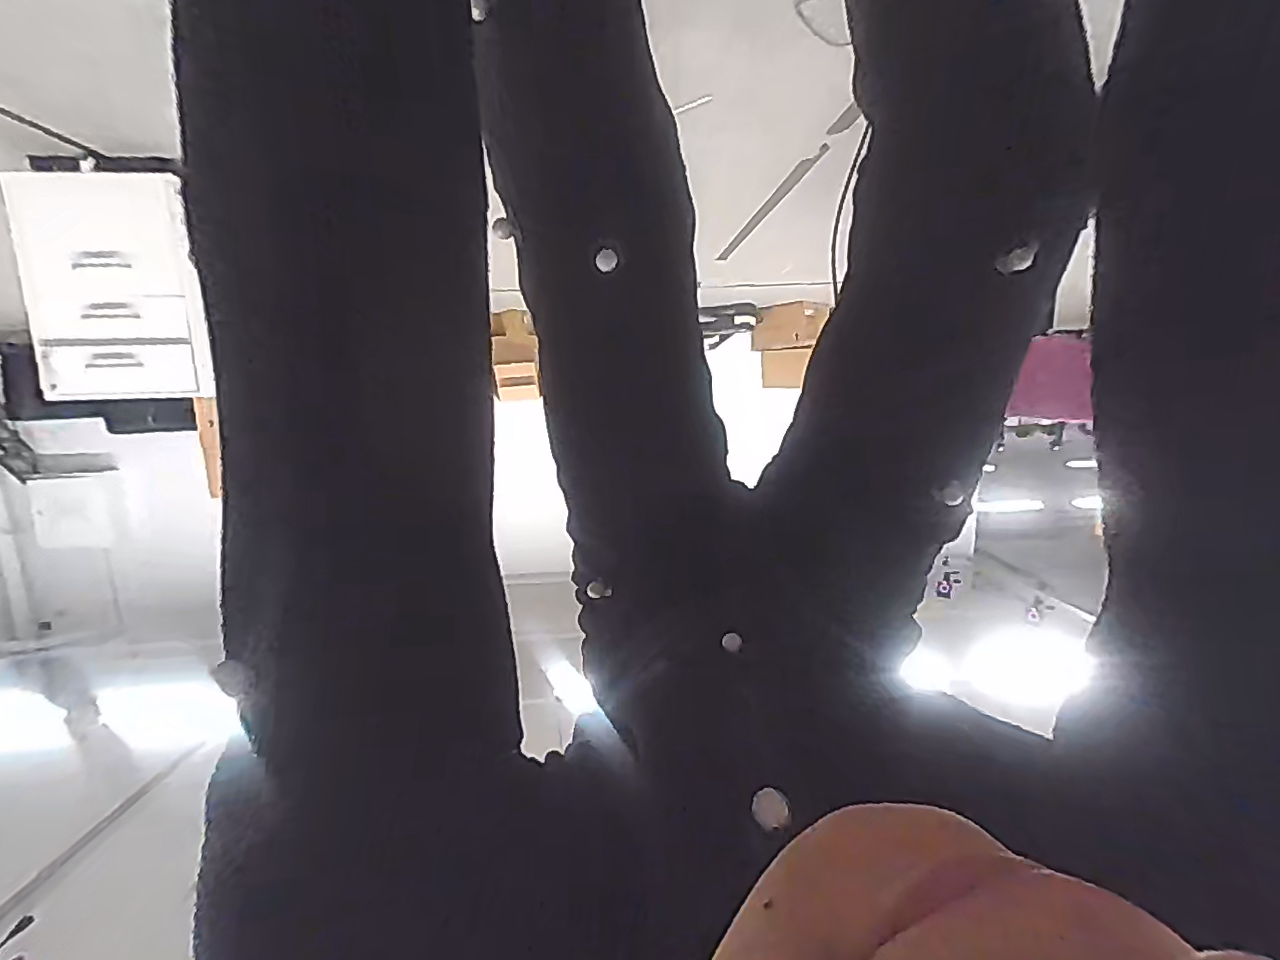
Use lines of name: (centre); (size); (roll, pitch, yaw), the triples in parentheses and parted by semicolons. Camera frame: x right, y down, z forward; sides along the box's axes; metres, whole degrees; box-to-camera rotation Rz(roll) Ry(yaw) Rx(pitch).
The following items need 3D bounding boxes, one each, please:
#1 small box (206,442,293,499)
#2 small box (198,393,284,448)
small box: (-1.311, -0.038, 1.816); (0.168, 0.176, 0.179); (-1, -168, -2)
small box: (-1.314, -0.198, 1.781); (0.179, 0.176, 0.168); (-2, -170, -6)
